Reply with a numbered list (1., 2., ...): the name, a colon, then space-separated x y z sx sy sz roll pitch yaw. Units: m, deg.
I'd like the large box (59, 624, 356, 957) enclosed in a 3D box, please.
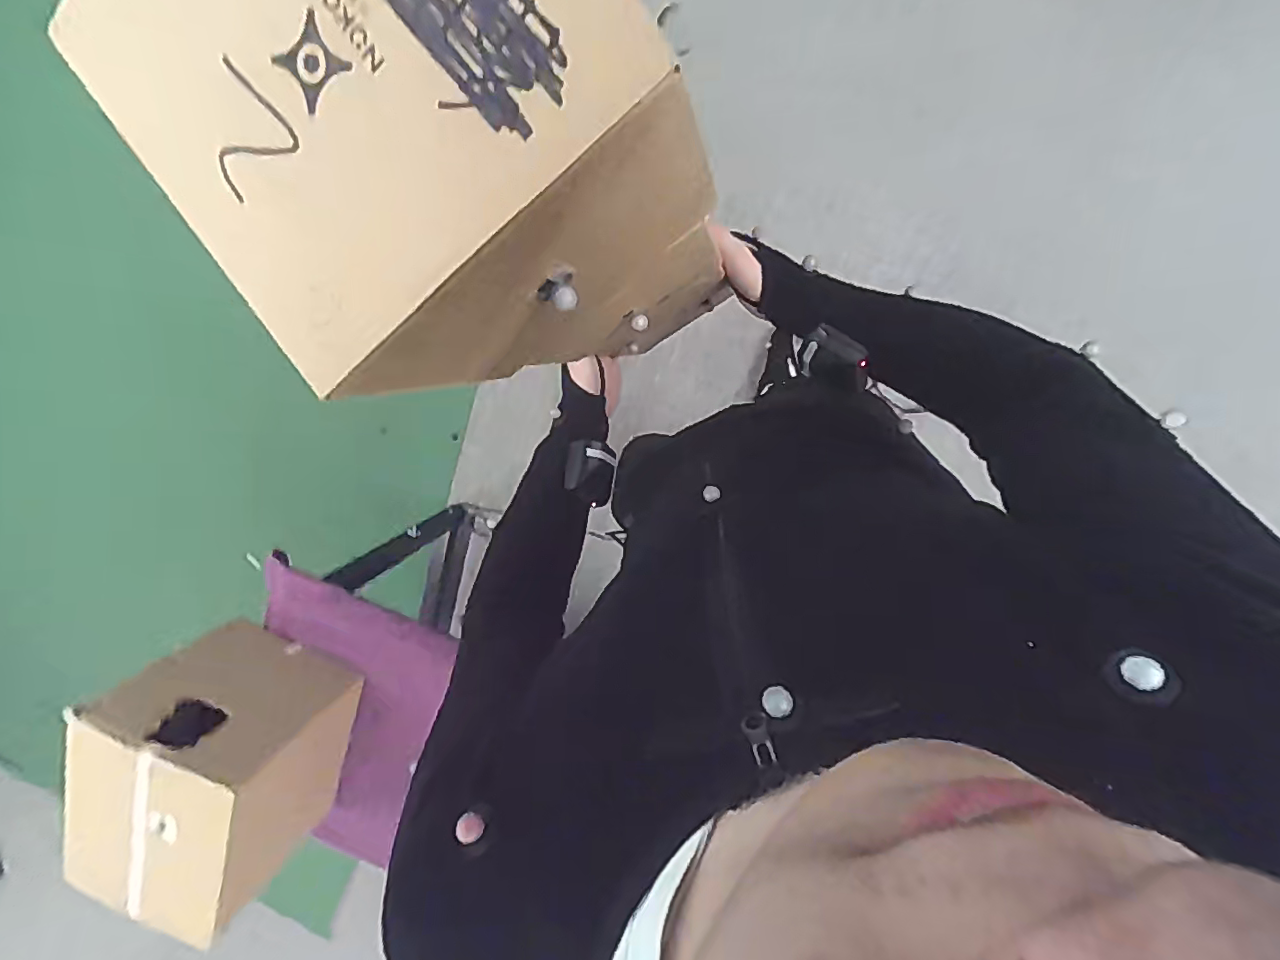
1. large box: -0.808 0.566 1.040 0.320 0.320 0.408 21 106 3
